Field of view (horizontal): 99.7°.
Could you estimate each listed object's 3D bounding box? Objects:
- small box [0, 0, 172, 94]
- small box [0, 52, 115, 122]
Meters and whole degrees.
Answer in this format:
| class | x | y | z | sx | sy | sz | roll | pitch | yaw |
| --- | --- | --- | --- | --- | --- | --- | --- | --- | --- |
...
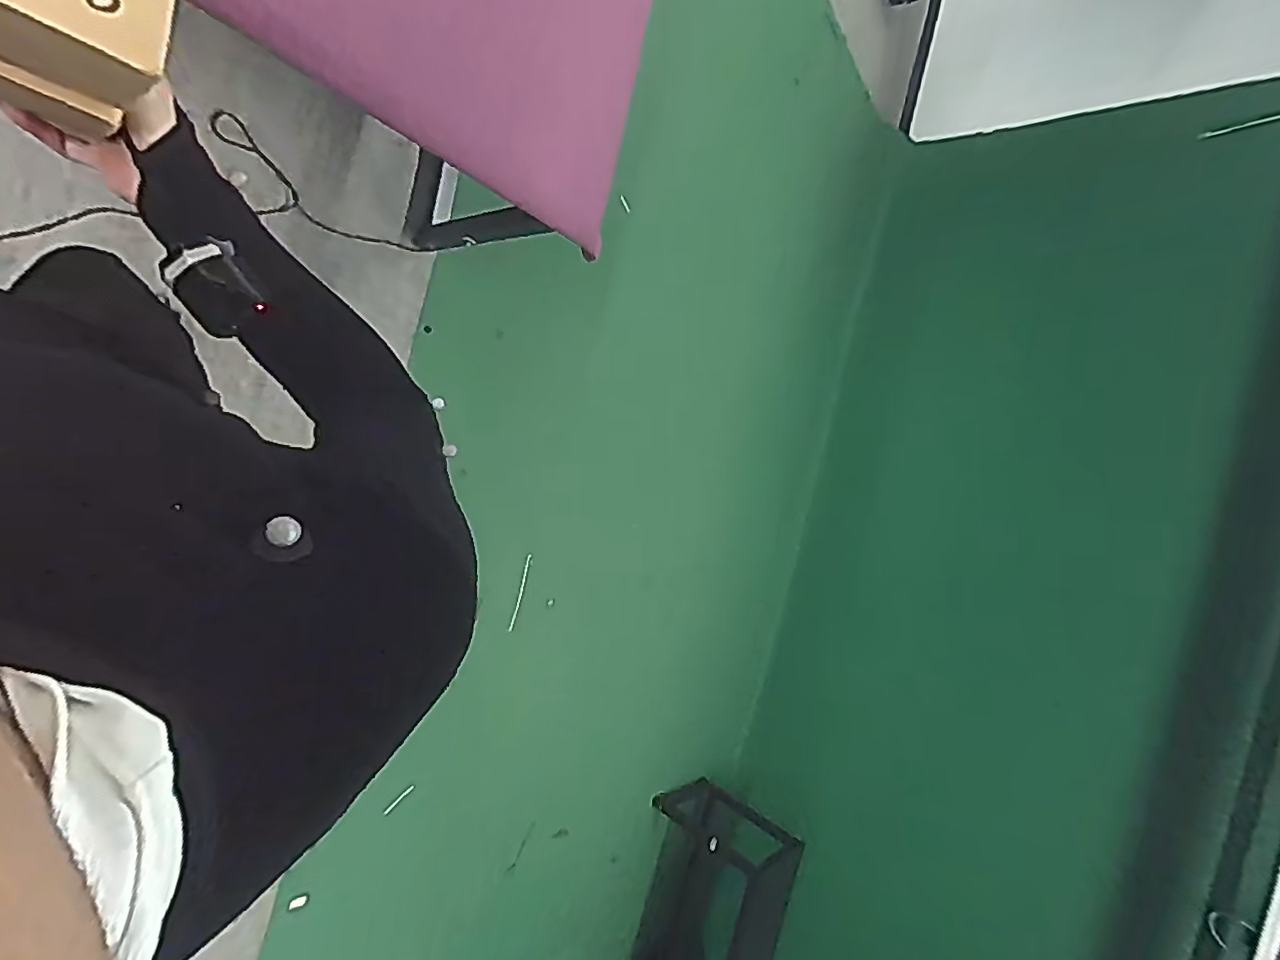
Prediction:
| class | x | y | z | sx | sy | sz | roll | pitch | yaw |
| --- | --- | --- | --- | --- | --- | --- | --- | --- | --- |
| small box | -0.293 | -0.296 | 0.213 | 0.168 | 0.176 | 0.179 | 7 | 105 | -49 |
| small box | -0.410 | -0.344 | 0.317 | 0.168 | 0.176 | 0.179 | 9 | 103 | -50 |
